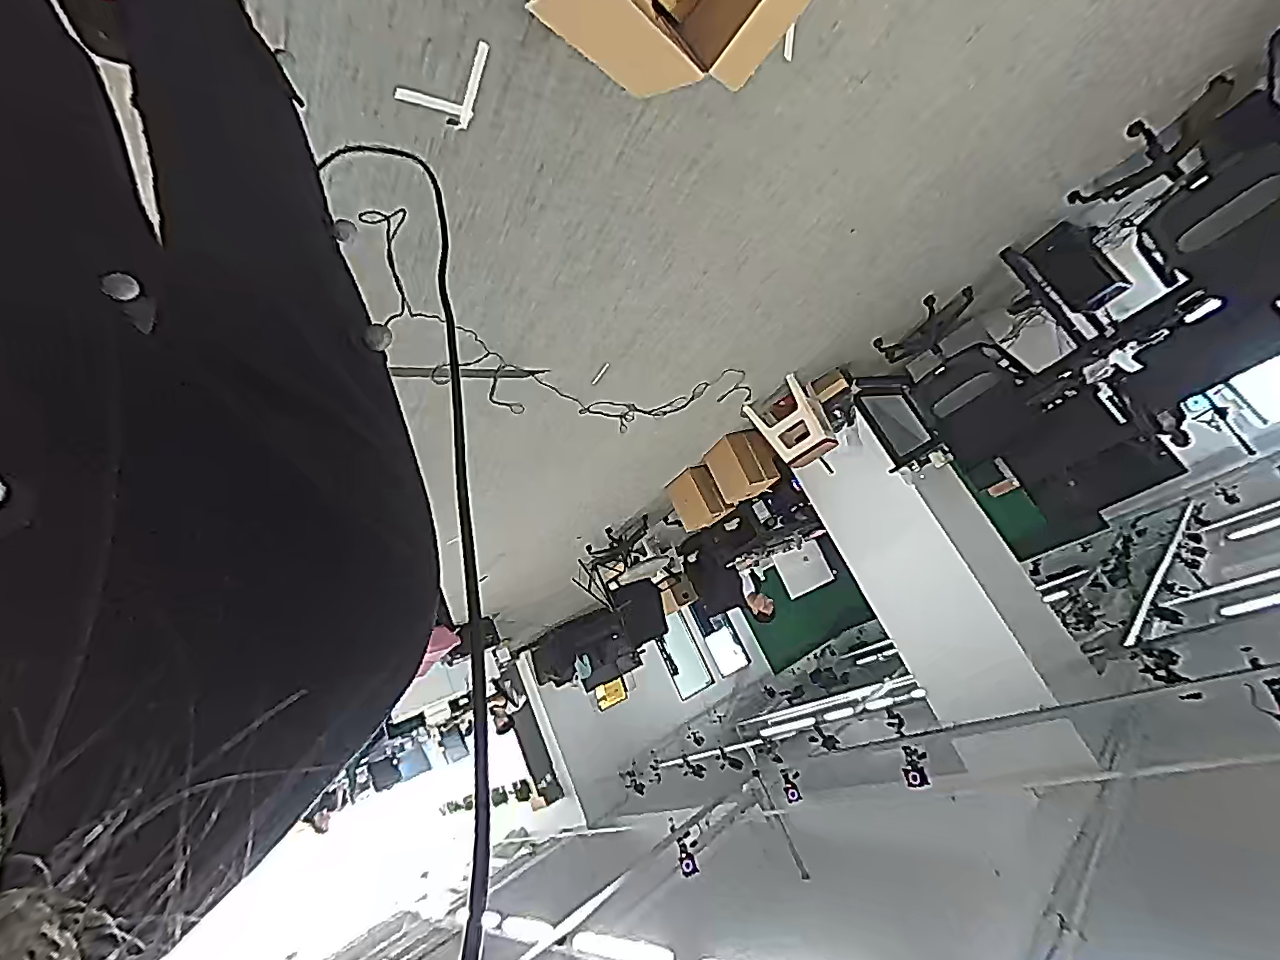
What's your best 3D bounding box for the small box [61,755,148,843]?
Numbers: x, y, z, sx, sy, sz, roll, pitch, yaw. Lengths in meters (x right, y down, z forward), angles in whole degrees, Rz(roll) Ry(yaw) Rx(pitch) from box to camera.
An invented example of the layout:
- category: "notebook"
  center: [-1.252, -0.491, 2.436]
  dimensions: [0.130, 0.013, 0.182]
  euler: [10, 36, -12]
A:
- category: "small box"
  center: [-1.668, 0.987, 1.683]
  dimensions: [0.179, 0.176, 0.168]
  euler: [-5, 151, -47]
